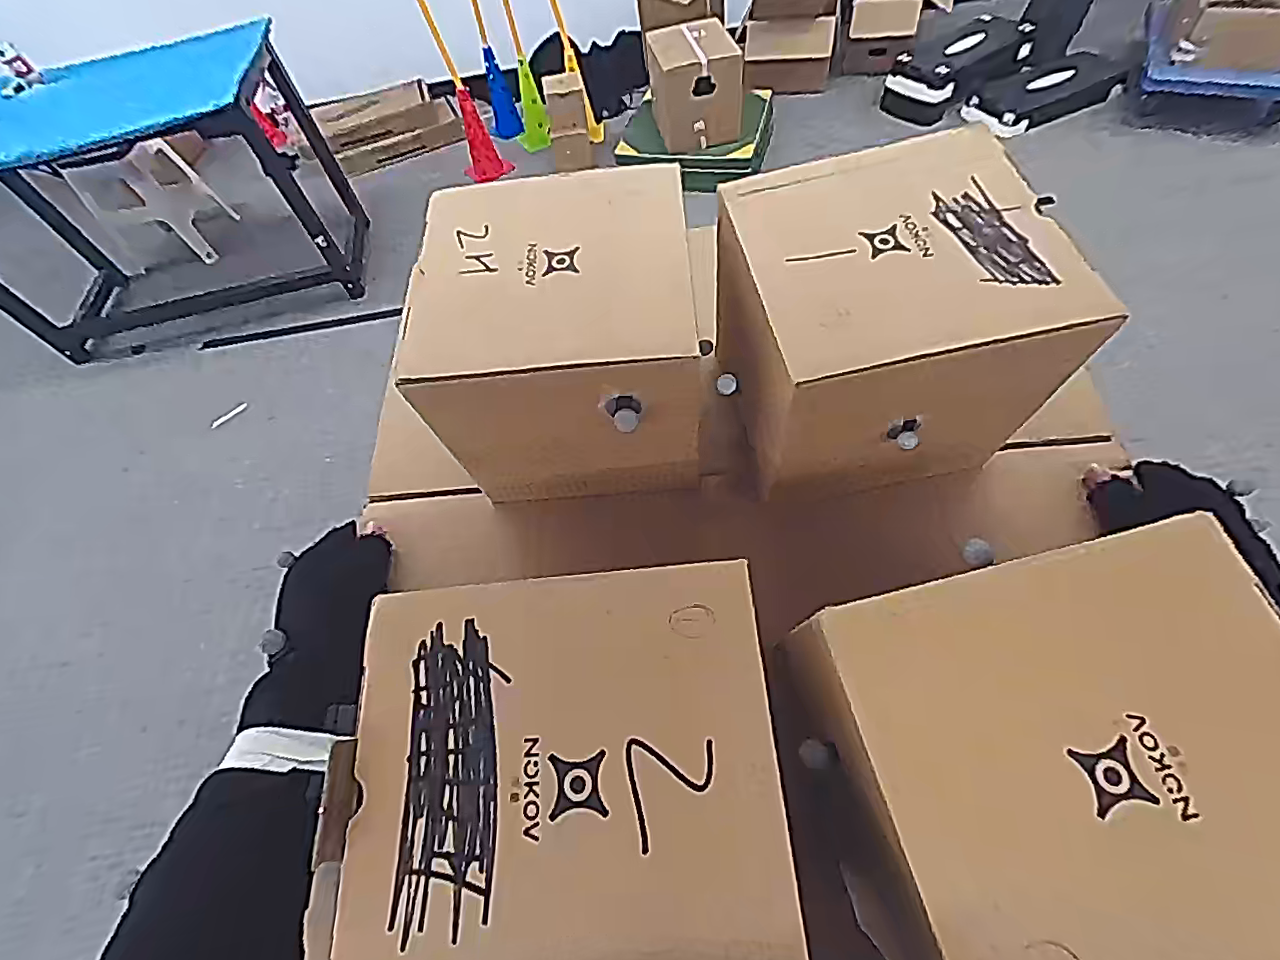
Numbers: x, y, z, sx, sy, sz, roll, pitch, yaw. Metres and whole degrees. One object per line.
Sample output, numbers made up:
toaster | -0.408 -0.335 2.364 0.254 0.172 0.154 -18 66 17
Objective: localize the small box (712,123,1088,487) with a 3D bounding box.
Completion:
small box | 0.154 -0.113 0.397 0.179 0.176 0.168 -12 63 2

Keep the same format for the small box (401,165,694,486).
small box | -0.050 -0.106 0.420 0.179 0.176 0.168 -4 63 5
